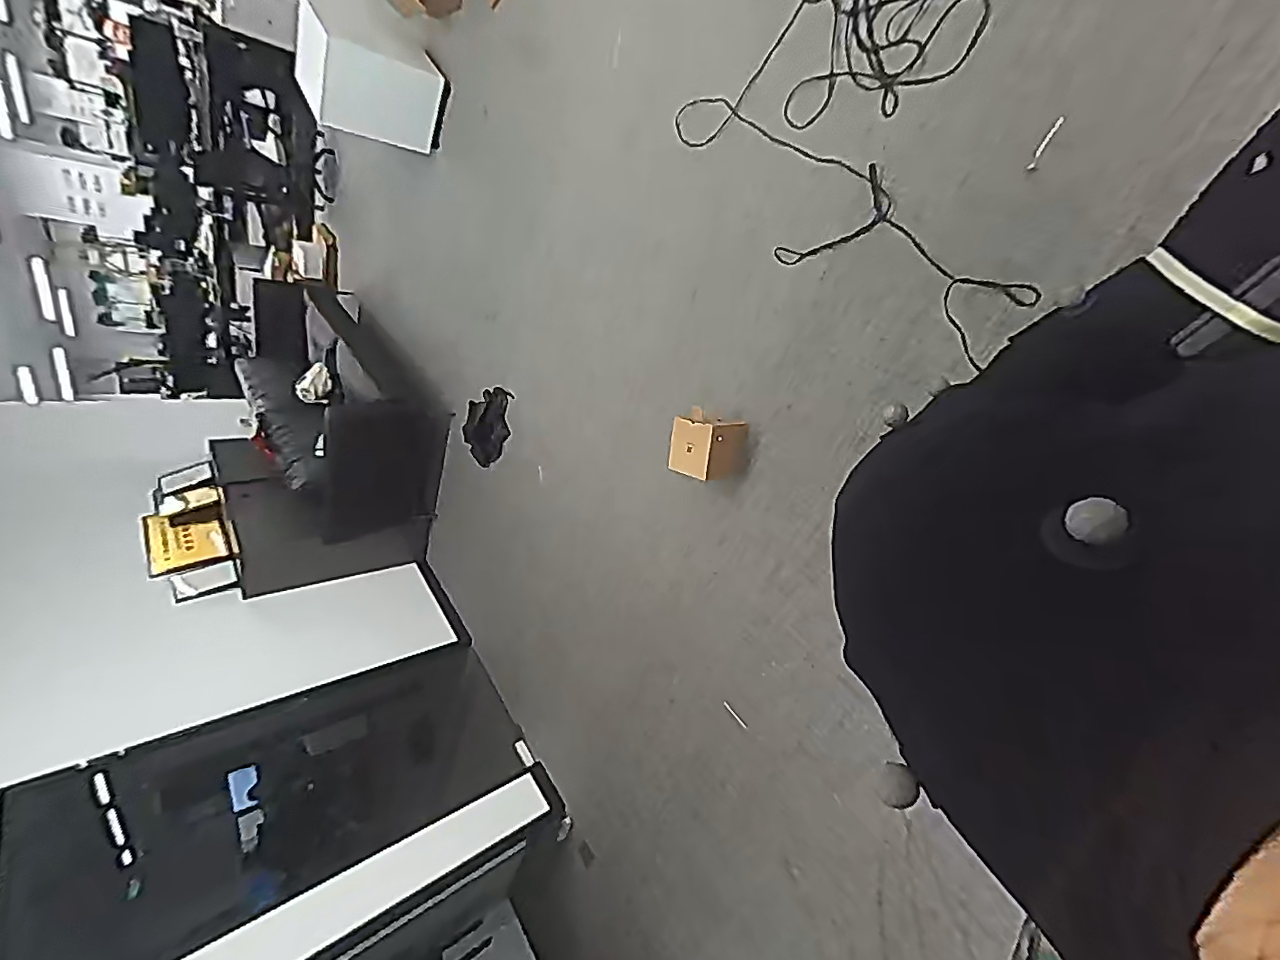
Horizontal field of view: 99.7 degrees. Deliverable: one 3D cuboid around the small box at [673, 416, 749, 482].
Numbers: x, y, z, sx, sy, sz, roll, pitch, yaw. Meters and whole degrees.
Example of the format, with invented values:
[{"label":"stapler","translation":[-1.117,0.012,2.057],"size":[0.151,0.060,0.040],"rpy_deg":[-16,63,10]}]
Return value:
[{"label":"small box","translation":[0.230,-0.105,1.735],"size":[0.168,0.176,0.179],"rpy_deg":[21,111,45]}]
